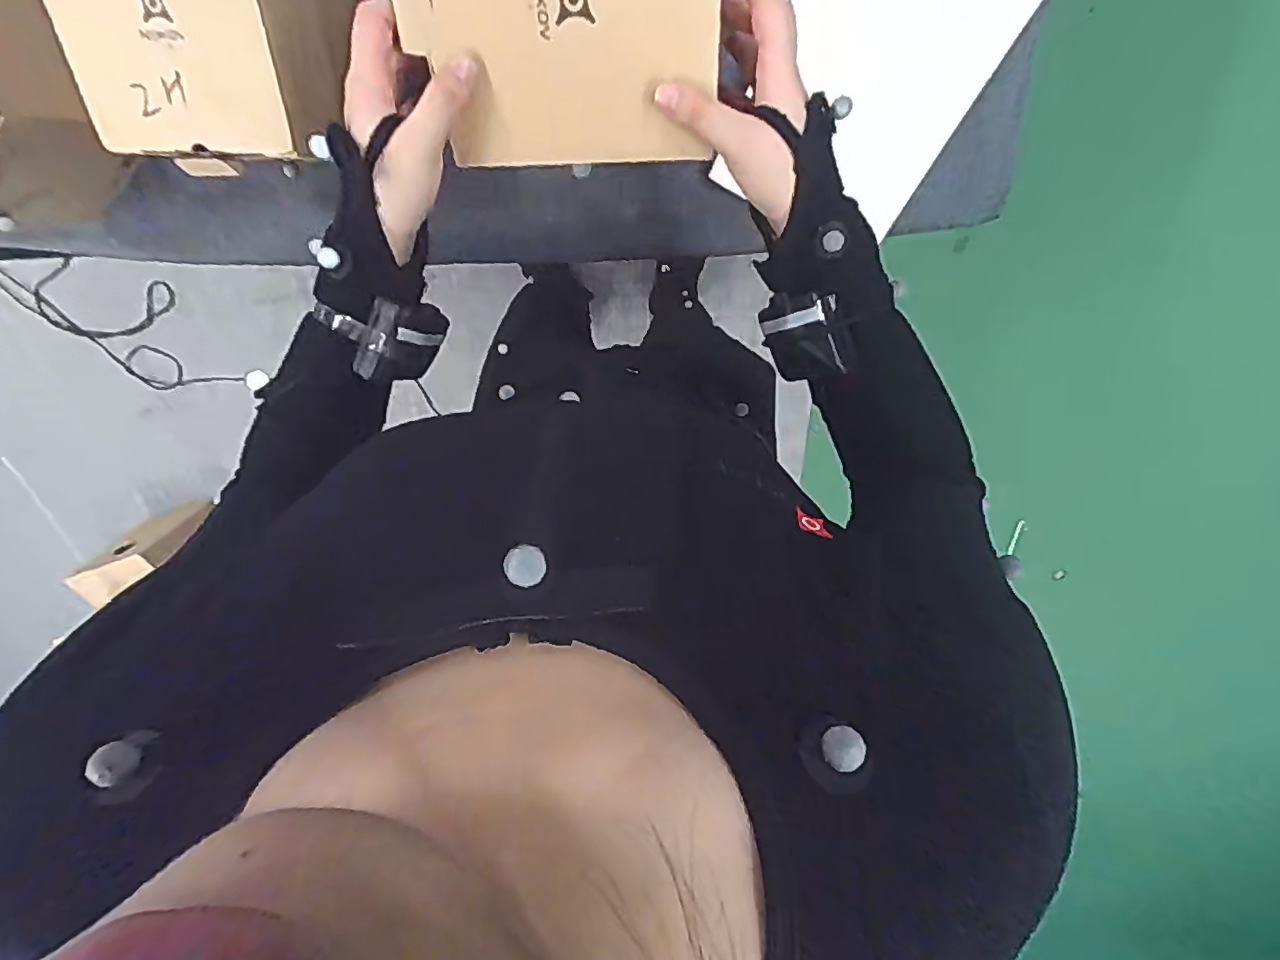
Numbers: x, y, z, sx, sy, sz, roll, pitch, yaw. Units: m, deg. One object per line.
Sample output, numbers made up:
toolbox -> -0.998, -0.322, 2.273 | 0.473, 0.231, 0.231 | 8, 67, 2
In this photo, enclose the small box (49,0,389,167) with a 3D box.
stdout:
small box -> -0.349, -0.378, 0.472 | 0.168, 0.176, 0.179 | 3, 120, 4
